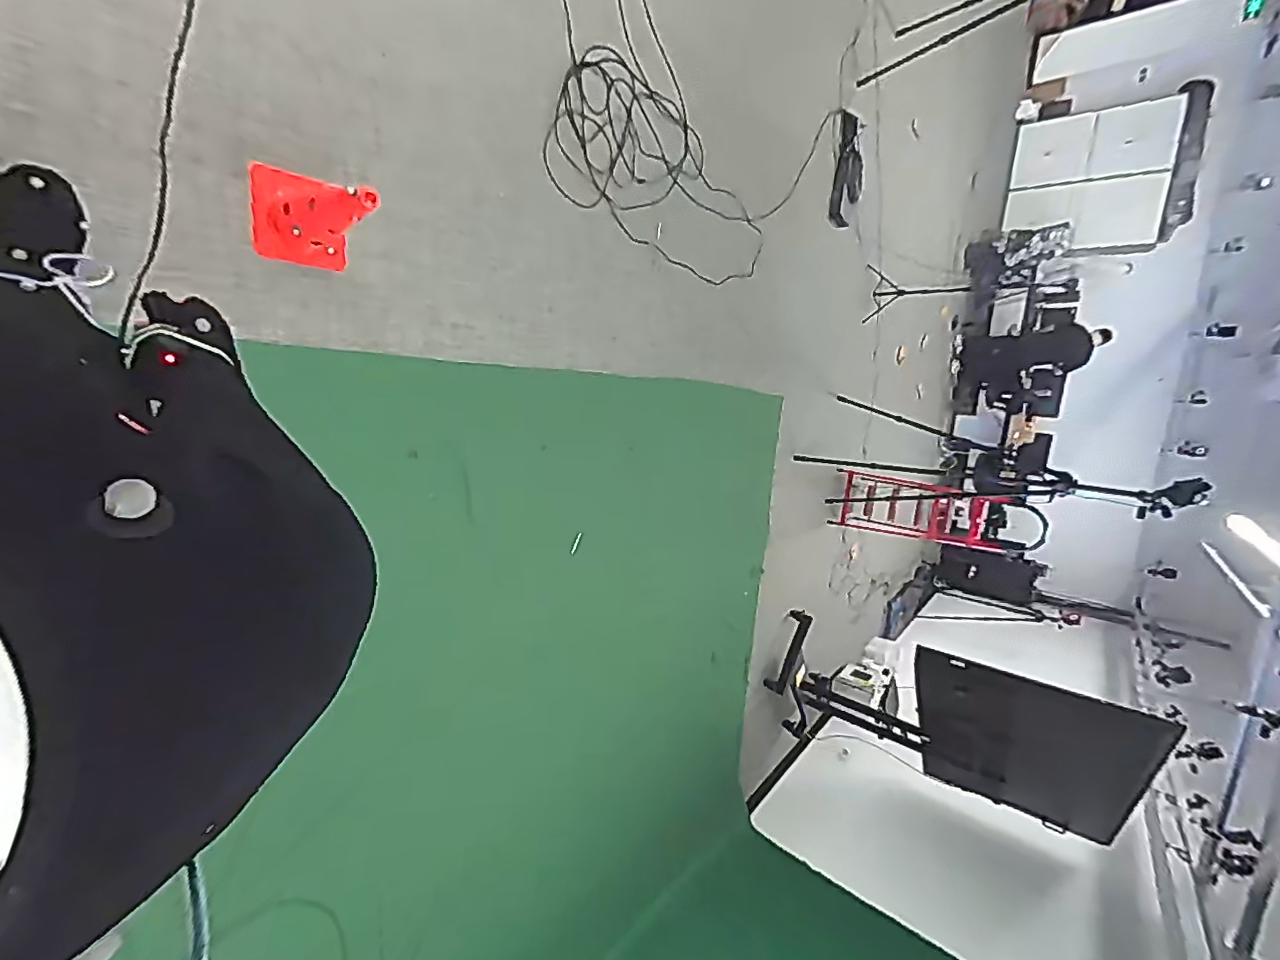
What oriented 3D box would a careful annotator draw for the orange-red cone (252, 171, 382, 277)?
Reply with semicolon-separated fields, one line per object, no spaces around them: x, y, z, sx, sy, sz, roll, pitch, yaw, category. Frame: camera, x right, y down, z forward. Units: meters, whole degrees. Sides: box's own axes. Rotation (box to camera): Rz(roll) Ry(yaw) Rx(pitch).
-0.668;-0.576;1.177;0.198;0.360;0.199;-8;104;-51;orange-red cone
